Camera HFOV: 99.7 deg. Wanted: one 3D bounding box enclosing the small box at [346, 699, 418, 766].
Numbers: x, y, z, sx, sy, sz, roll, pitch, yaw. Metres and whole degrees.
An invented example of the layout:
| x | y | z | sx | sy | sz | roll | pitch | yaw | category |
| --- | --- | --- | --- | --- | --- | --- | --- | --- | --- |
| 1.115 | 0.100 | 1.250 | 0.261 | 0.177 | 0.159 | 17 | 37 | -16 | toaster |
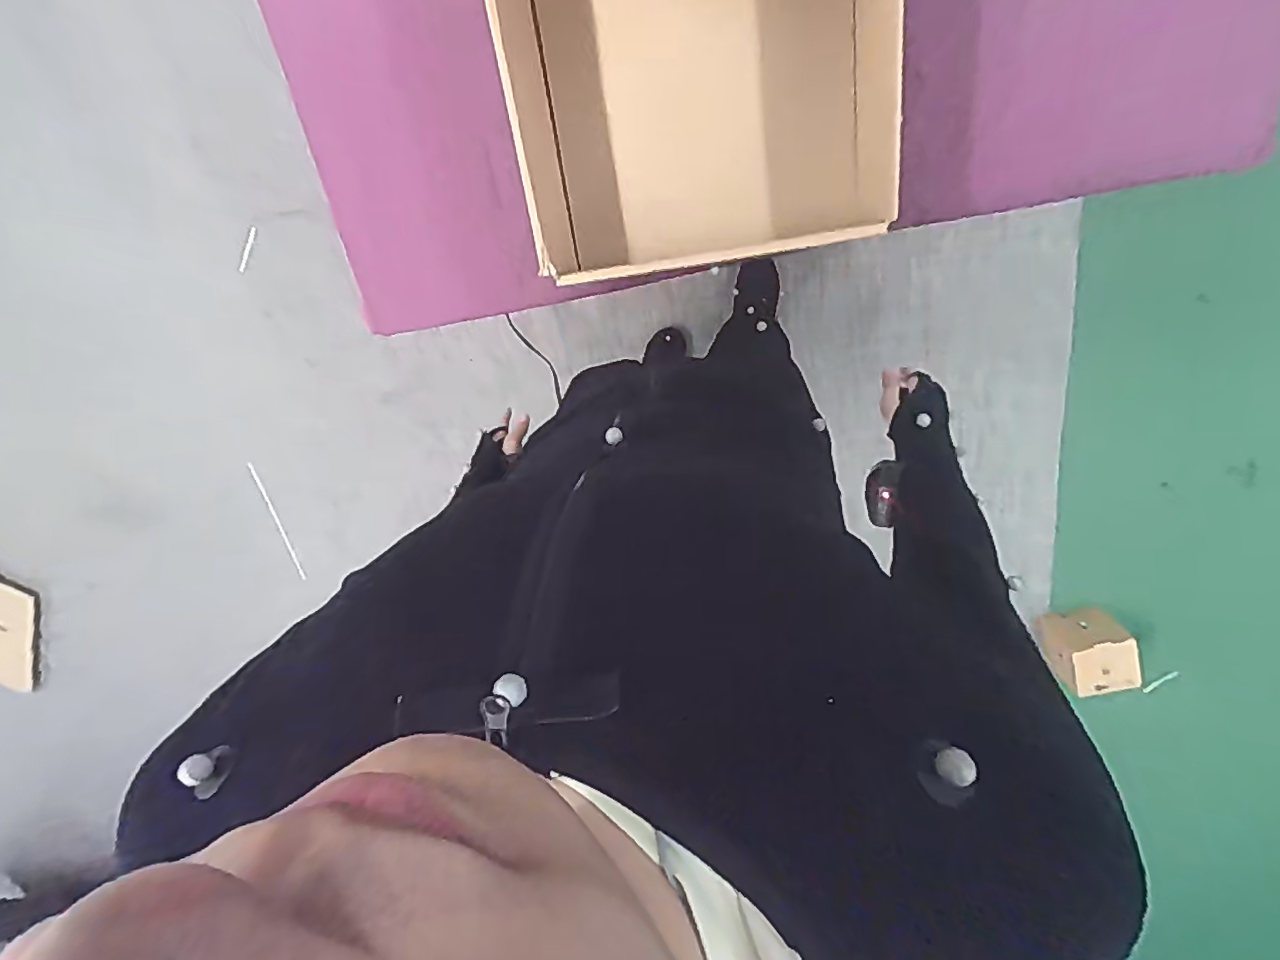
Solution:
| x | y | z | sx | sy | sz | roll | pitch | yaw | category |
| --- | --- | --- | --- | --- | --- | --- | --- | --- | --- |
| -0.988 | 0.973 | 2.096 | 0.179 | 0.176 | 0.168 | -11 | 108 | 11 | small box |

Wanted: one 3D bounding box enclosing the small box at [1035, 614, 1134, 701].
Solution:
| x | y | z | sx | sy | sz | roll | pitch | yaw | category |
| --- | --- | --- | --- | --- | --- | --- | --- | --- | --- |
| 1.327 | 0.523 | 1.625 | 0.168 | 0.176 | 0.179 | -18 | 107 | 14 | small box |
